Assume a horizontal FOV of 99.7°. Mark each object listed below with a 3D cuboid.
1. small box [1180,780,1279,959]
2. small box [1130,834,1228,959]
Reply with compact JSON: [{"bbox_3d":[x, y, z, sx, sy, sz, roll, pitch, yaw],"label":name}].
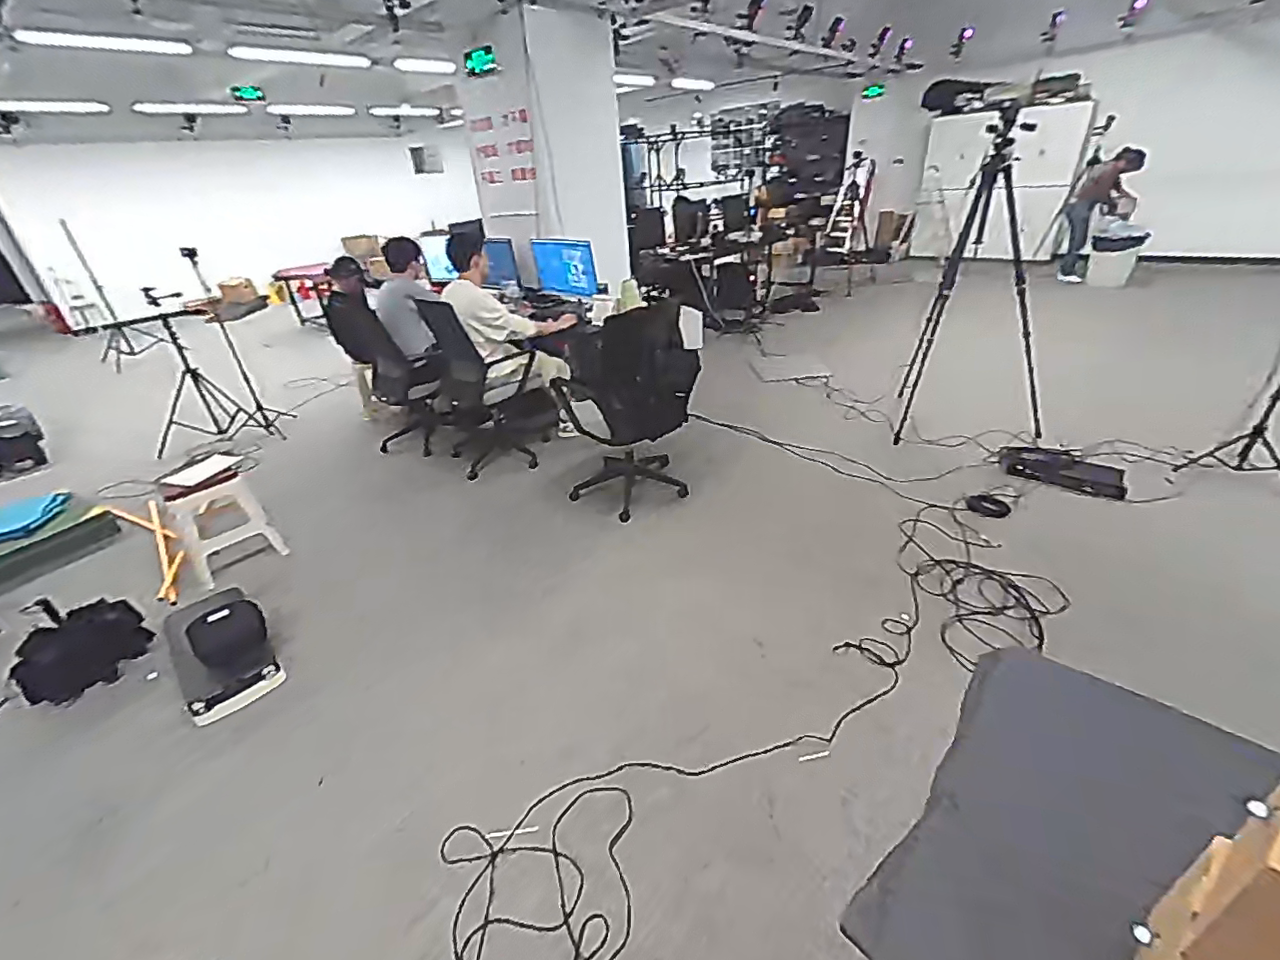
[{"bbox_3d":[0.585,0.357,0.426,0.179,0.176,0.168,-23,33,-27],"label":"small box"},{"bbox_3d":[0.600,0.497,0.506,0.168,0.176,0.179,-24,35,-32],"label":"small box"}]
